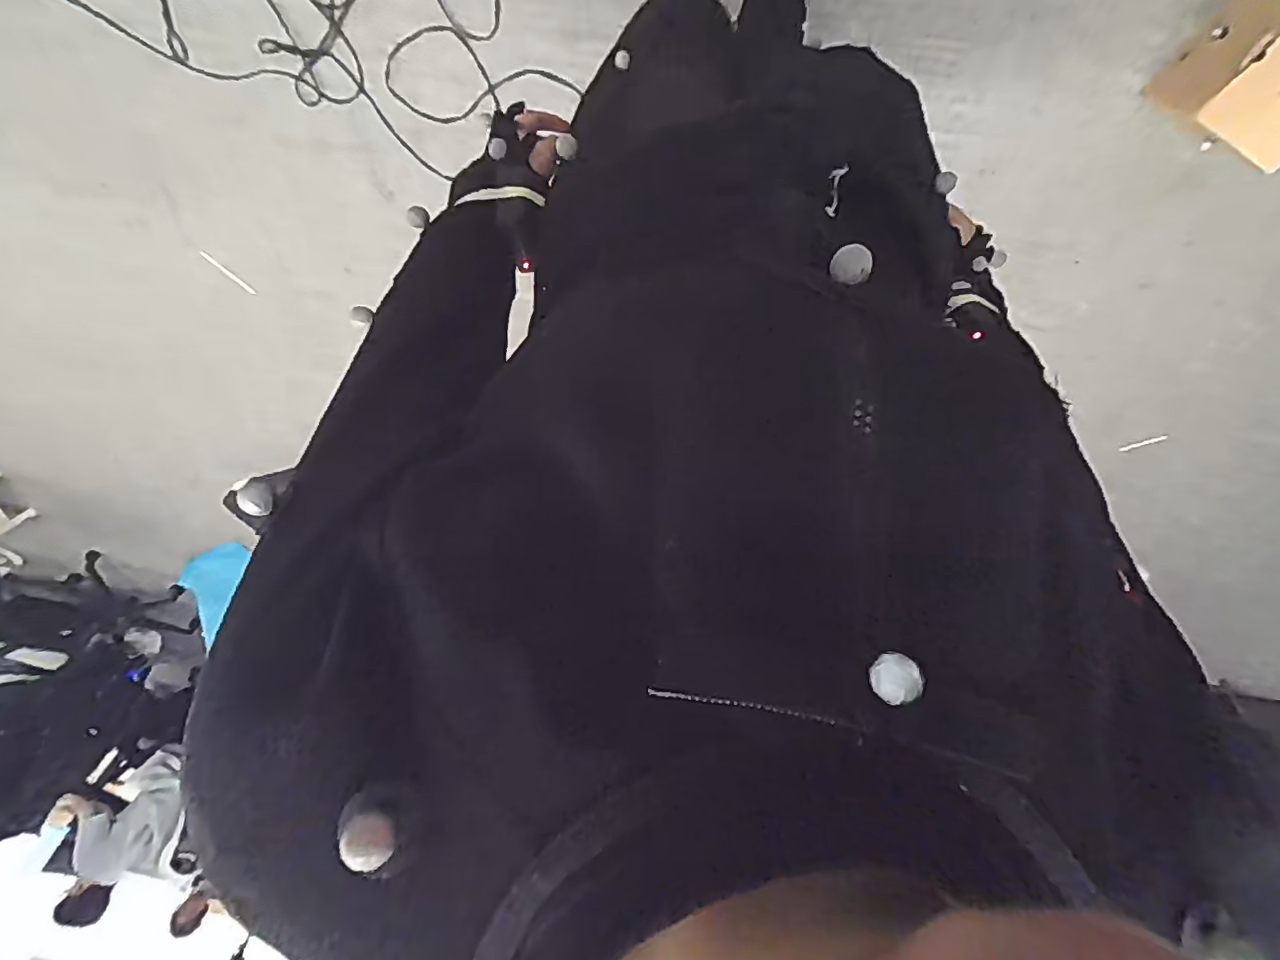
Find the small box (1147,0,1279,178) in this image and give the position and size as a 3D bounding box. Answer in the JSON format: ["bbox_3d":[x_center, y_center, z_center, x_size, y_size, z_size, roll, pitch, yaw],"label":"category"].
[{"bbox_3d":[0.950,-0.605,0.822,0.179,0.176,0.168,23,134,-11],"label":"small box"}]
